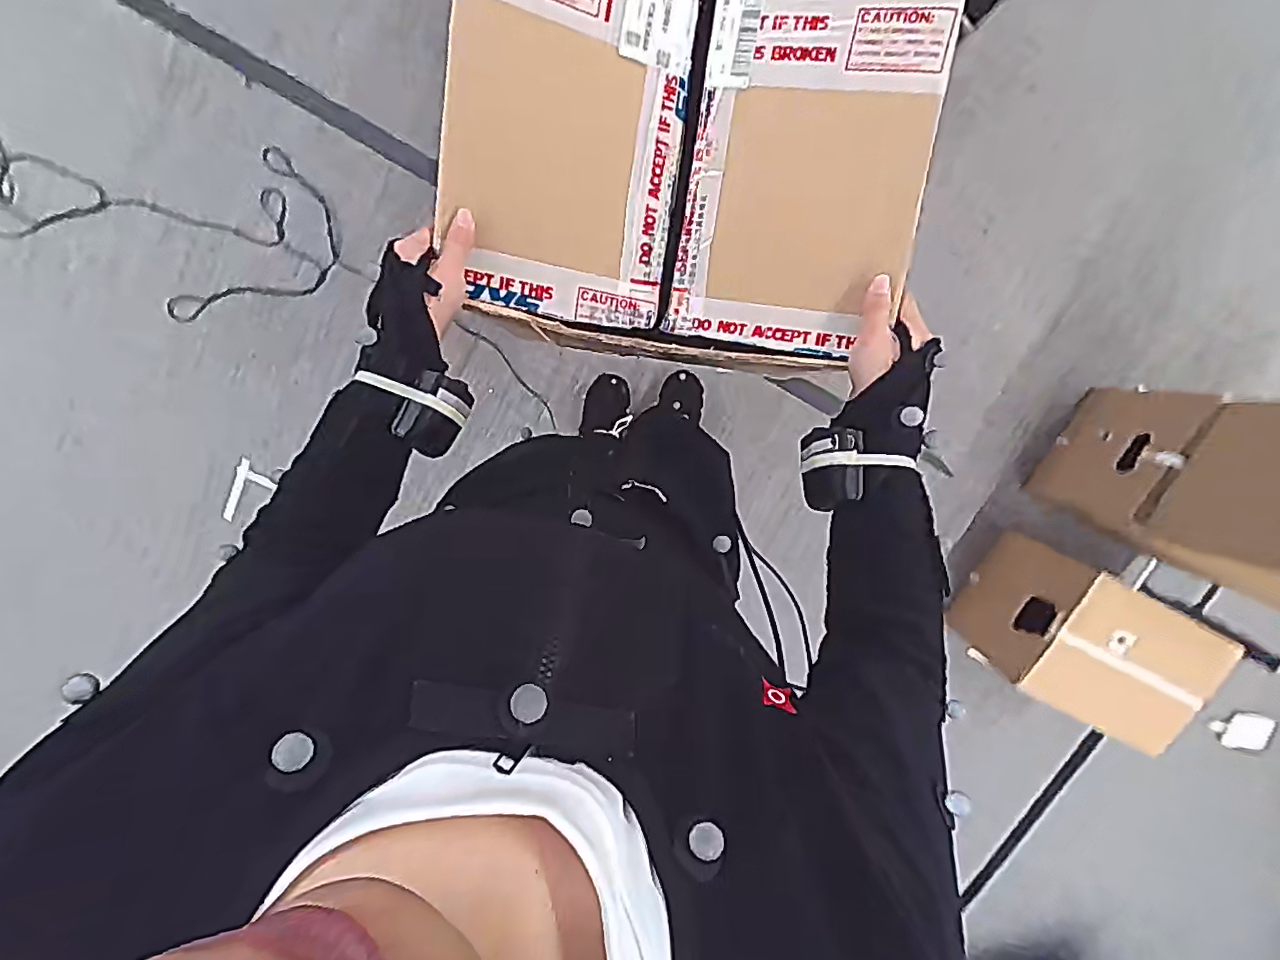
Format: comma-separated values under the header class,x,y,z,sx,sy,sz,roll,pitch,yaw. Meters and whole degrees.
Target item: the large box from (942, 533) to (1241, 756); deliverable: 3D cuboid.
class,x,y,z,sx,sy,sz,roll,pitch,yaw
large box,1.068,0.384,1.331,0.408,0.320,0.320,27,100,-5
